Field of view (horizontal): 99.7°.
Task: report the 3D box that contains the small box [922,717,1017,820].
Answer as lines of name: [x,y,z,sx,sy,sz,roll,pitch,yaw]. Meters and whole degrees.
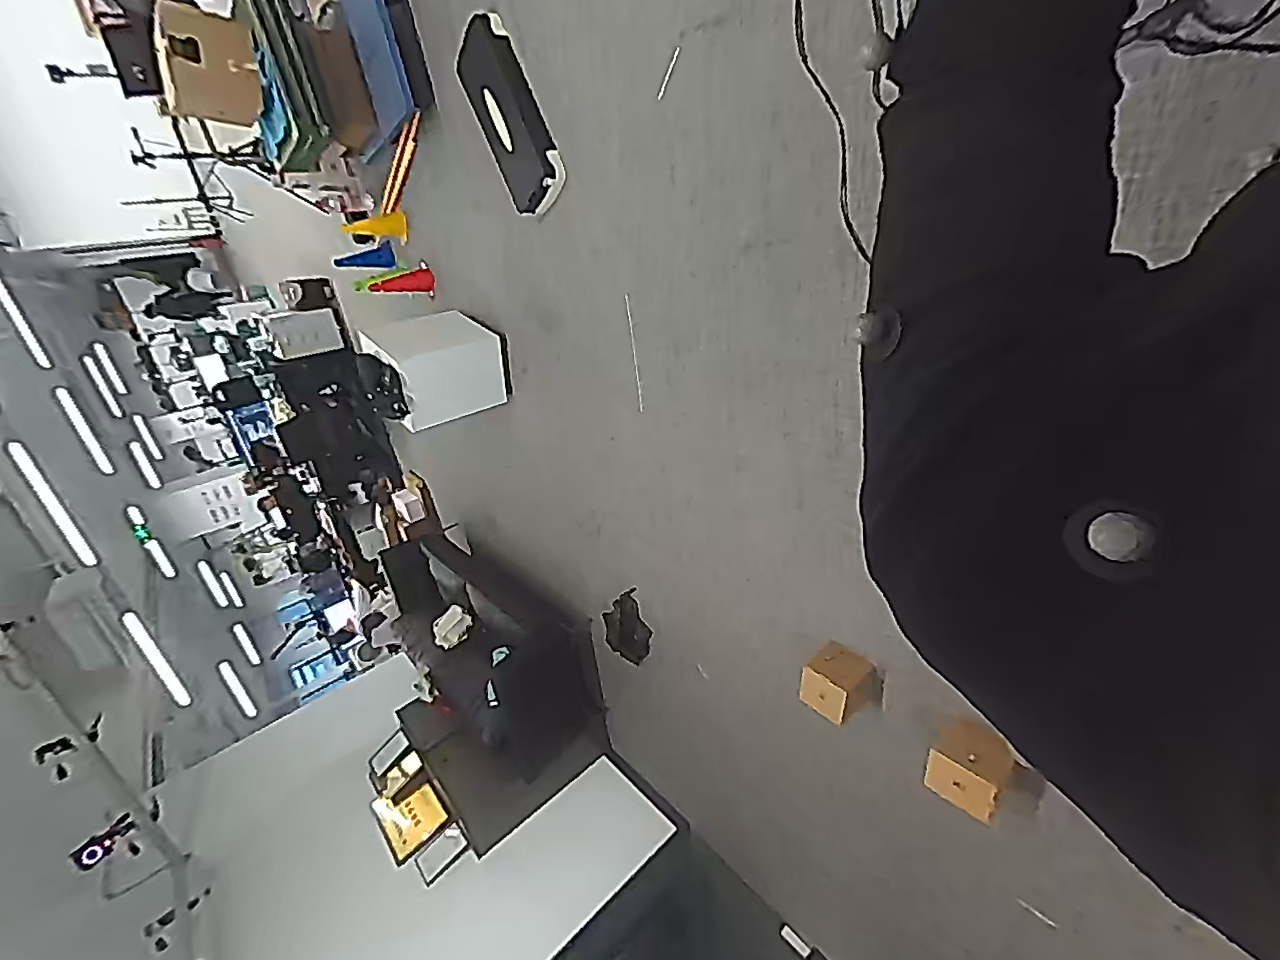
small box: [0.956,0.825,1.571,0.179,0.176,0.168,21,127,44]

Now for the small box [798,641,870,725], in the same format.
small box: [0.670,0.691,1.864,0.168,0.176,0.179,27,133,43]
